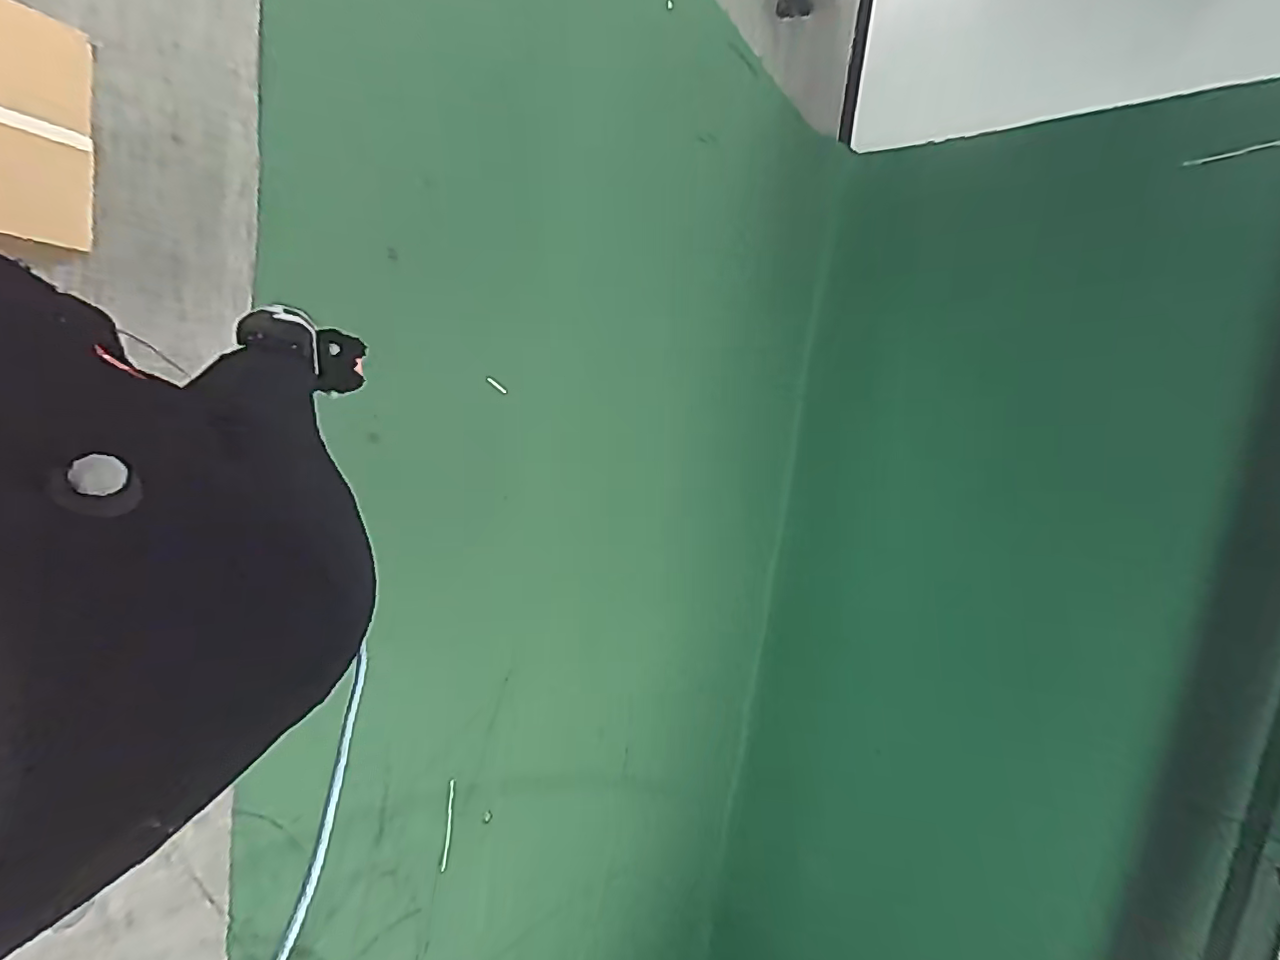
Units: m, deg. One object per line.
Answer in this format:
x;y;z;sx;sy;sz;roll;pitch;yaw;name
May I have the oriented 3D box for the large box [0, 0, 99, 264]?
-1.066;-0.525;0.754;0.408;0.320;0.320;-1;101;-53;large box
